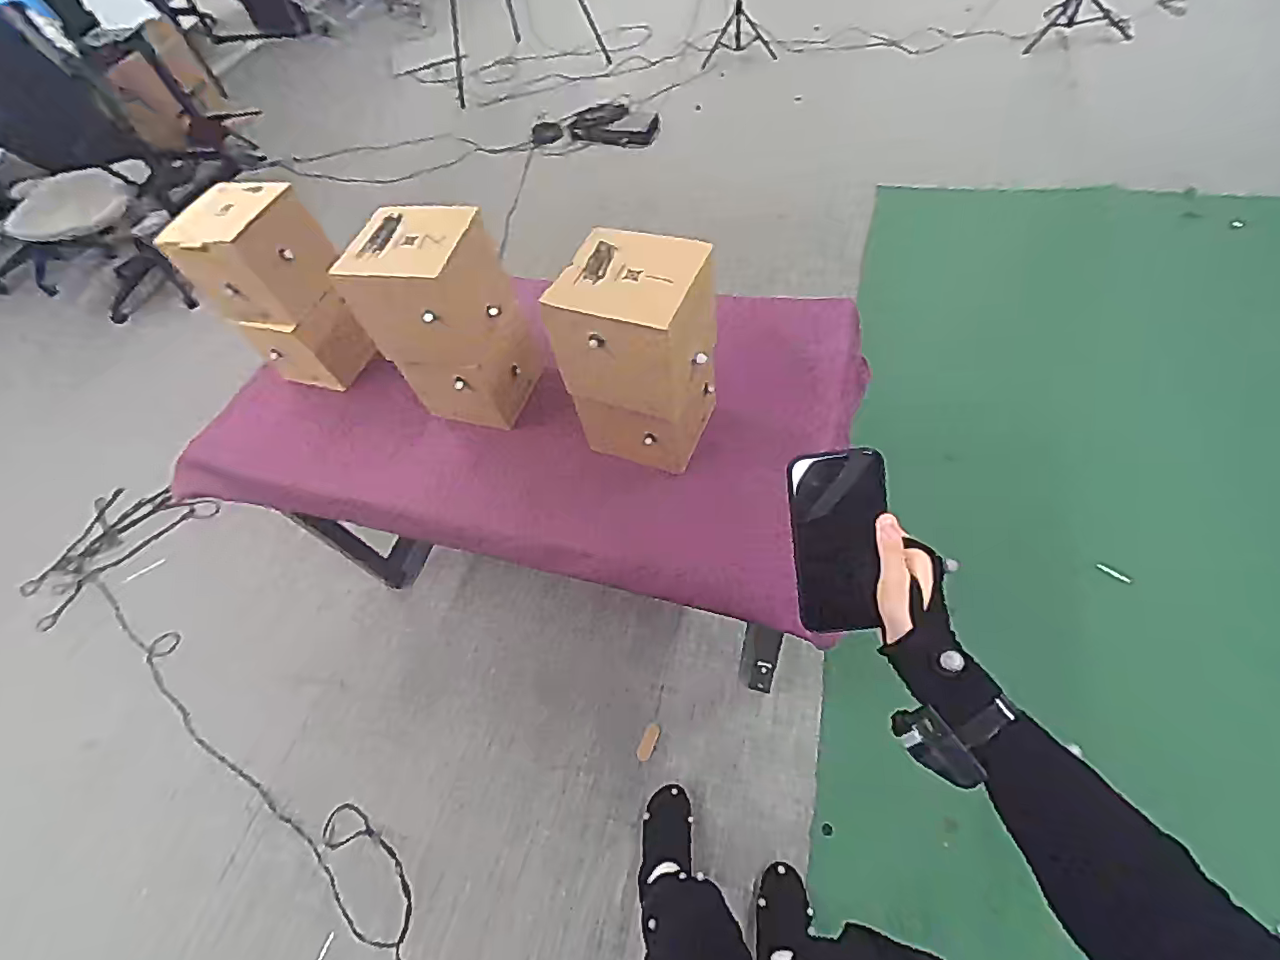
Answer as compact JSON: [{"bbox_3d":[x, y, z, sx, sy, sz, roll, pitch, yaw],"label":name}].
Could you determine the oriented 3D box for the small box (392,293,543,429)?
[{"bbox_3d":[-0.301,-0.214,0.990,0.179,0.176,0.168,11,59,17],"label":"small box"}]

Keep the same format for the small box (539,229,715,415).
[{"bbox_3d":[-0.005,-0.212,0.742,0.179,0.176,0.168,17,61,19],"label":"small box"}]

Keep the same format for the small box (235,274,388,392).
[{"bbox_3d":[-0.661,-0.304,1.113,0.168,0.176,0.179,12,60,17],"label":"small box"}]

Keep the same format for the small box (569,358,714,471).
[{"bbox_3d":[0.015,-0.137,0.886,0.179,0.176,0.168,17,61,20],"label":"small box"}]

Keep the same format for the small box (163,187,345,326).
[{"bbox_3d":[-0.682,-0.401,0.981,0.168,0.176,0.179,8,59,14],"label":"small box"}]
